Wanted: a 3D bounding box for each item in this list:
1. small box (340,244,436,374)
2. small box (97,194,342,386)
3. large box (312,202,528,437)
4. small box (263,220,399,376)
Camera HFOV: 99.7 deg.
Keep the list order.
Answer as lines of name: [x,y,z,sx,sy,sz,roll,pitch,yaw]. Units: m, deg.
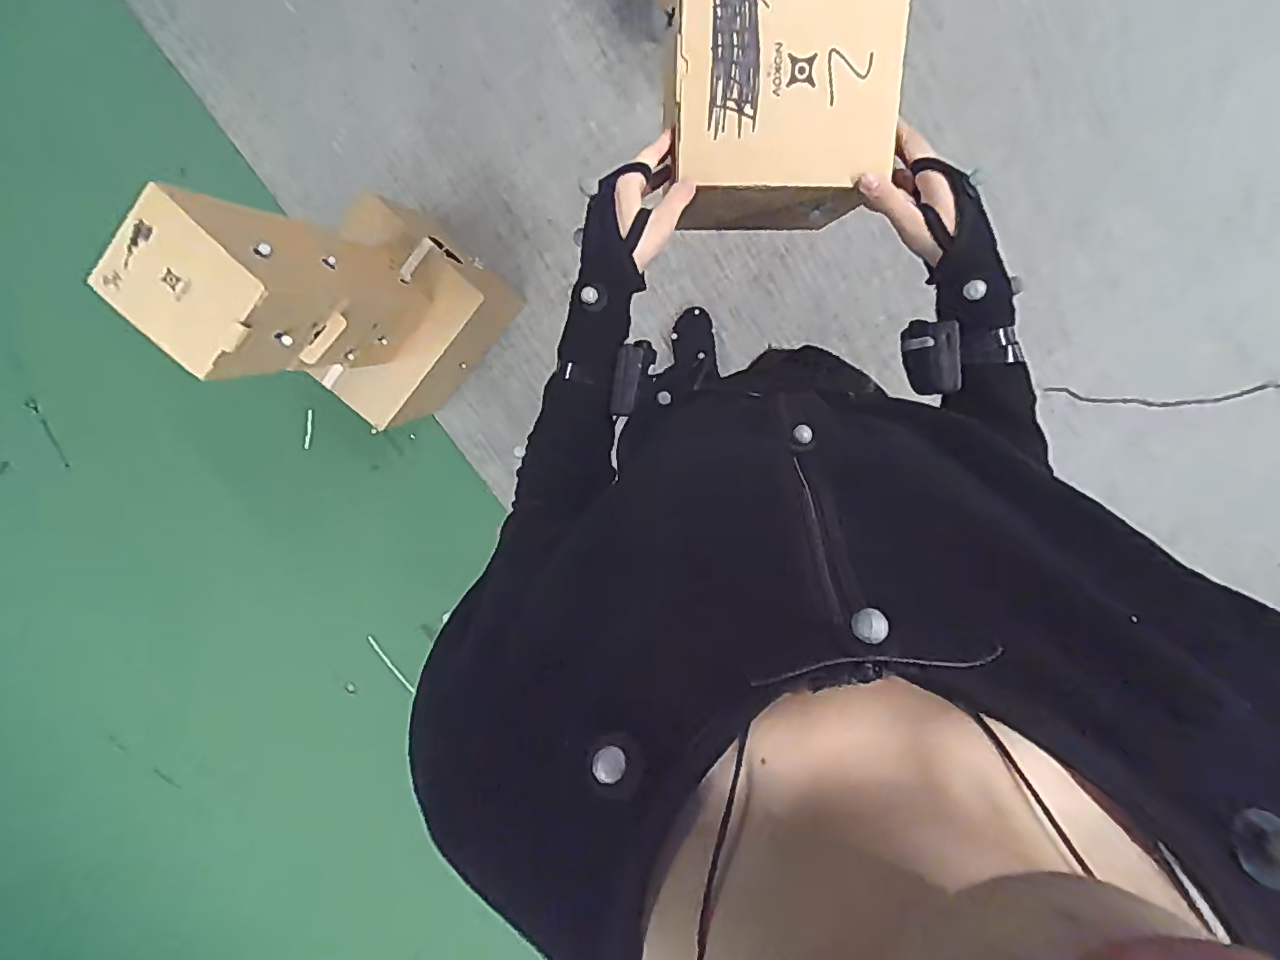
small box: [-0.544,-0.335,1.076,0.179,0.176,0.168,-43,99,13]
small box: [-0.568,-0.258,0.758,0.168,0.176,0.179,-43,100,13]
large box: [-0.543,-0.377,1.319,0.320,0.320,0.408,42,105,-6]
small box: [-0.552,-0.302,0.916,0.168,0.176,0.179,-41,99,13]
